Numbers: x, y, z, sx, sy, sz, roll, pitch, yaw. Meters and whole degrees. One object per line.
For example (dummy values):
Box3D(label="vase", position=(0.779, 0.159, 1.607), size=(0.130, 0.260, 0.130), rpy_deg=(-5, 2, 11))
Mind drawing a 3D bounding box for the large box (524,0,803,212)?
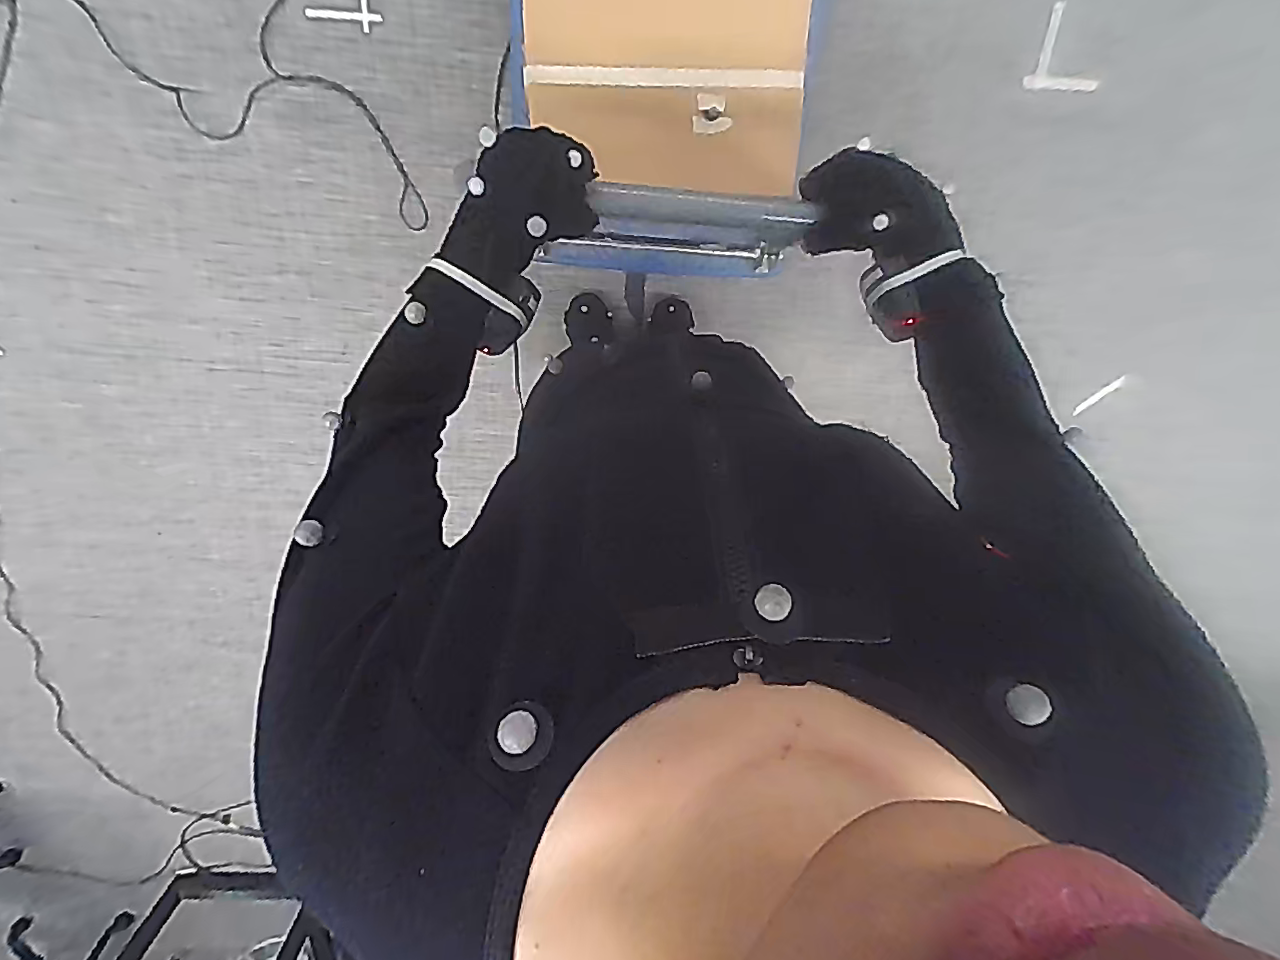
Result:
Box3D(label="large box", position=(0.026, -0.652, 0.935), size=(0.408, 0.320, 0.320), rpy_deg=(-2, 112, -4))
